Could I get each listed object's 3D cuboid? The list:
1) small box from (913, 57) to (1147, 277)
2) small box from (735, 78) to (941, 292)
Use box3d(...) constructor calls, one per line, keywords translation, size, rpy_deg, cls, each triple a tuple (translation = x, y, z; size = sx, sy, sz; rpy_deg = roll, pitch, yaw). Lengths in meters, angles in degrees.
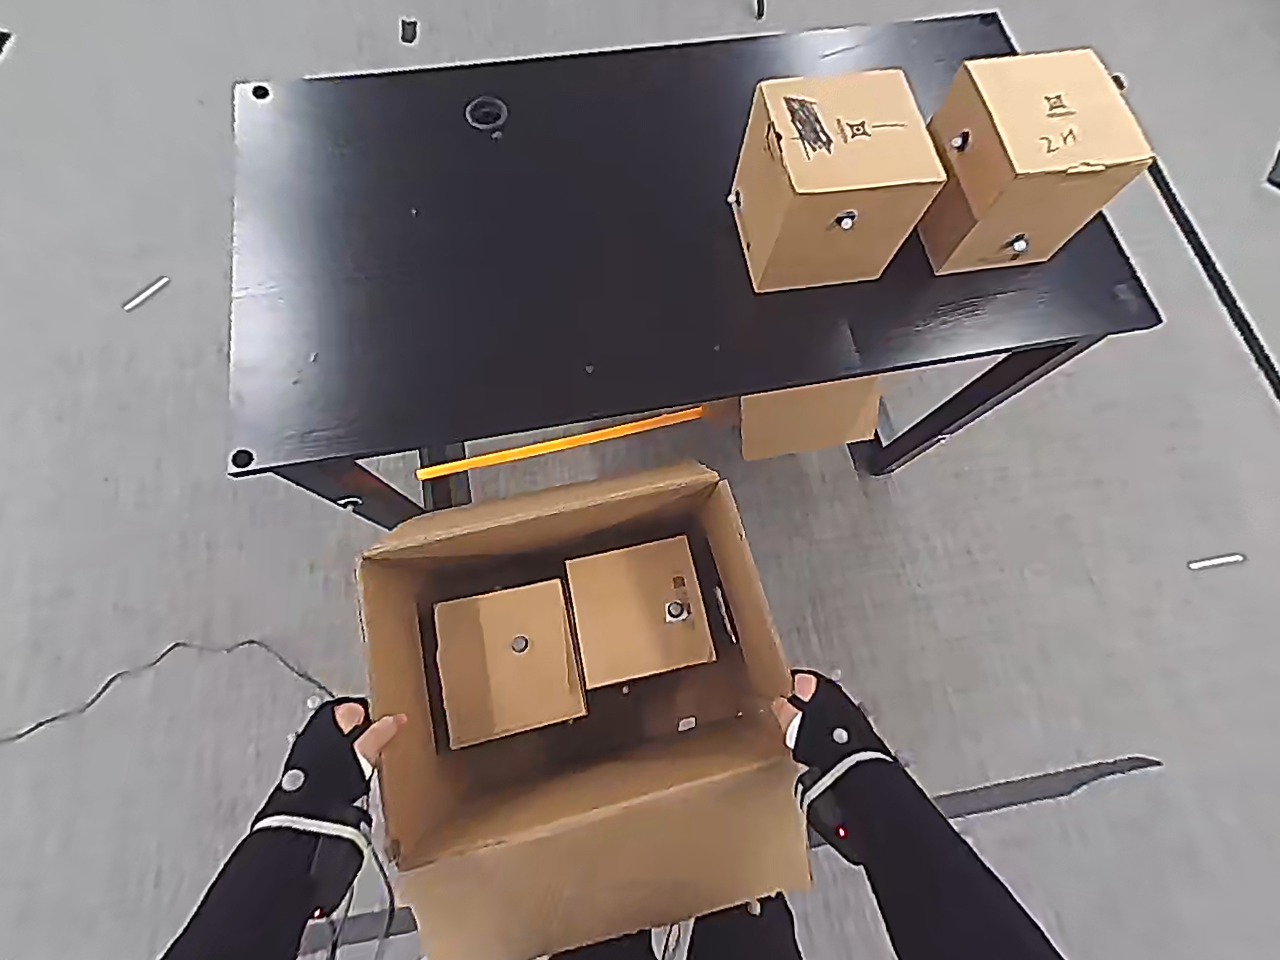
box3d(translation=(0.468, -0.392, 0.695), size=(0.168, 0.176, 0.179), rpy_deg=(-8, 73, -4), cls="small box")
box3d(translation=(0.226, -0.356, 0.675), size=(0.179, 0.176, 0.168), rpy_deg=(-8, 73, -6), cls="small box")
